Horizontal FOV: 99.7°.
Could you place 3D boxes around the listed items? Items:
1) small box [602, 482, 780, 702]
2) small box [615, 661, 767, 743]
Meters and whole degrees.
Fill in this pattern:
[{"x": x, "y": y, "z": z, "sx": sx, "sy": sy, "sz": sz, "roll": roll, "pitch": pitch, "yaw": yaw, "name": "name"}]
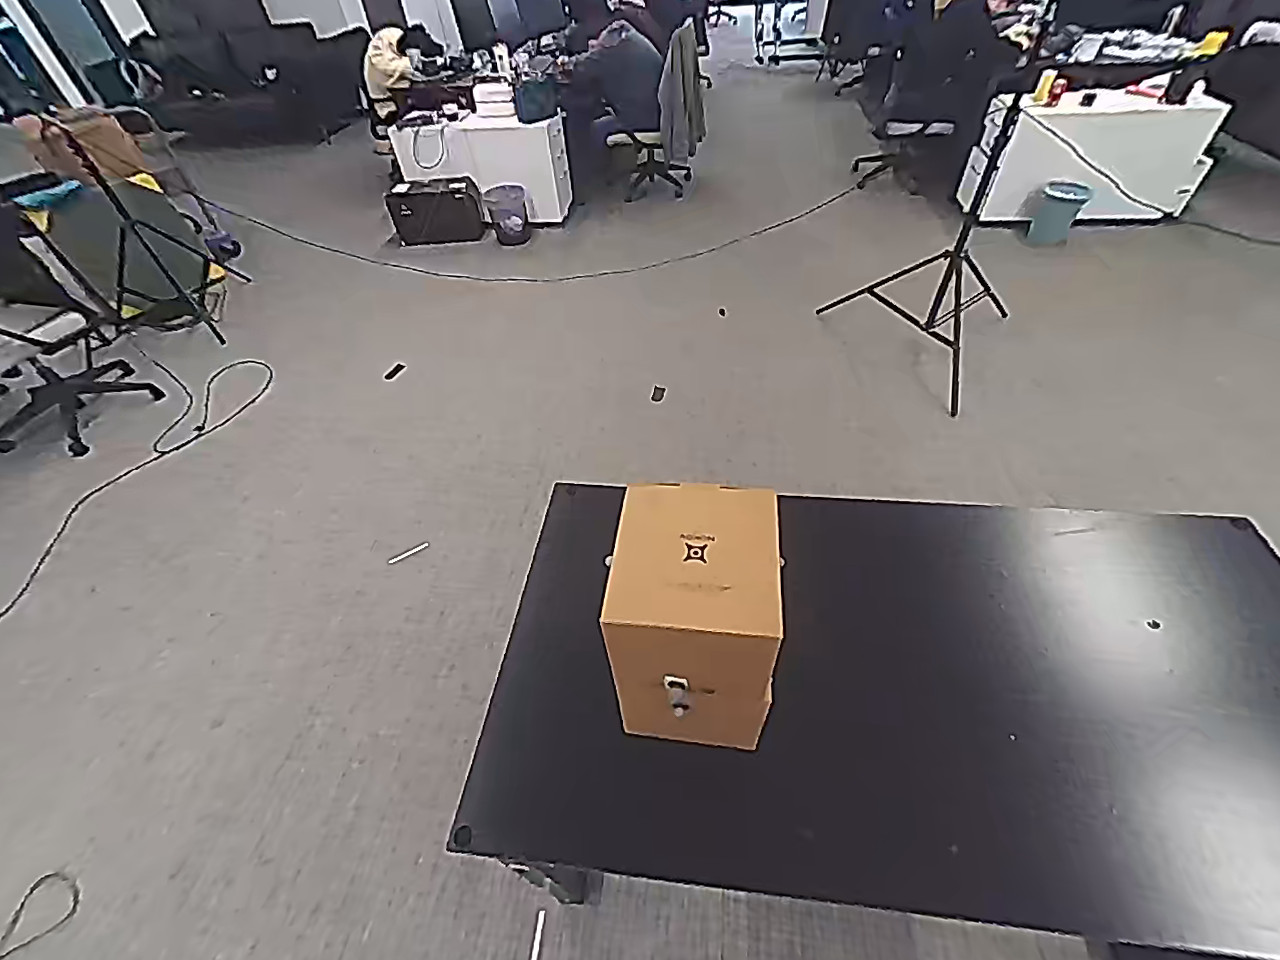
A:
[{"x": 0.060, "y": 0.124, "z": 0.603, "sx": 0.168, "sy": 0.176, "sz": 0.179, "roll": 2, "pitch": 48, "yaw": 8, "name": "small box"}, {"x": 0.072, "y": 0.233, "z": 0.723, "sx": 0.179, "sy": 0.176, "sz": 0.168, "roll": 4, "pitch": 48, "yaw": 7, "name": "small box"}]
